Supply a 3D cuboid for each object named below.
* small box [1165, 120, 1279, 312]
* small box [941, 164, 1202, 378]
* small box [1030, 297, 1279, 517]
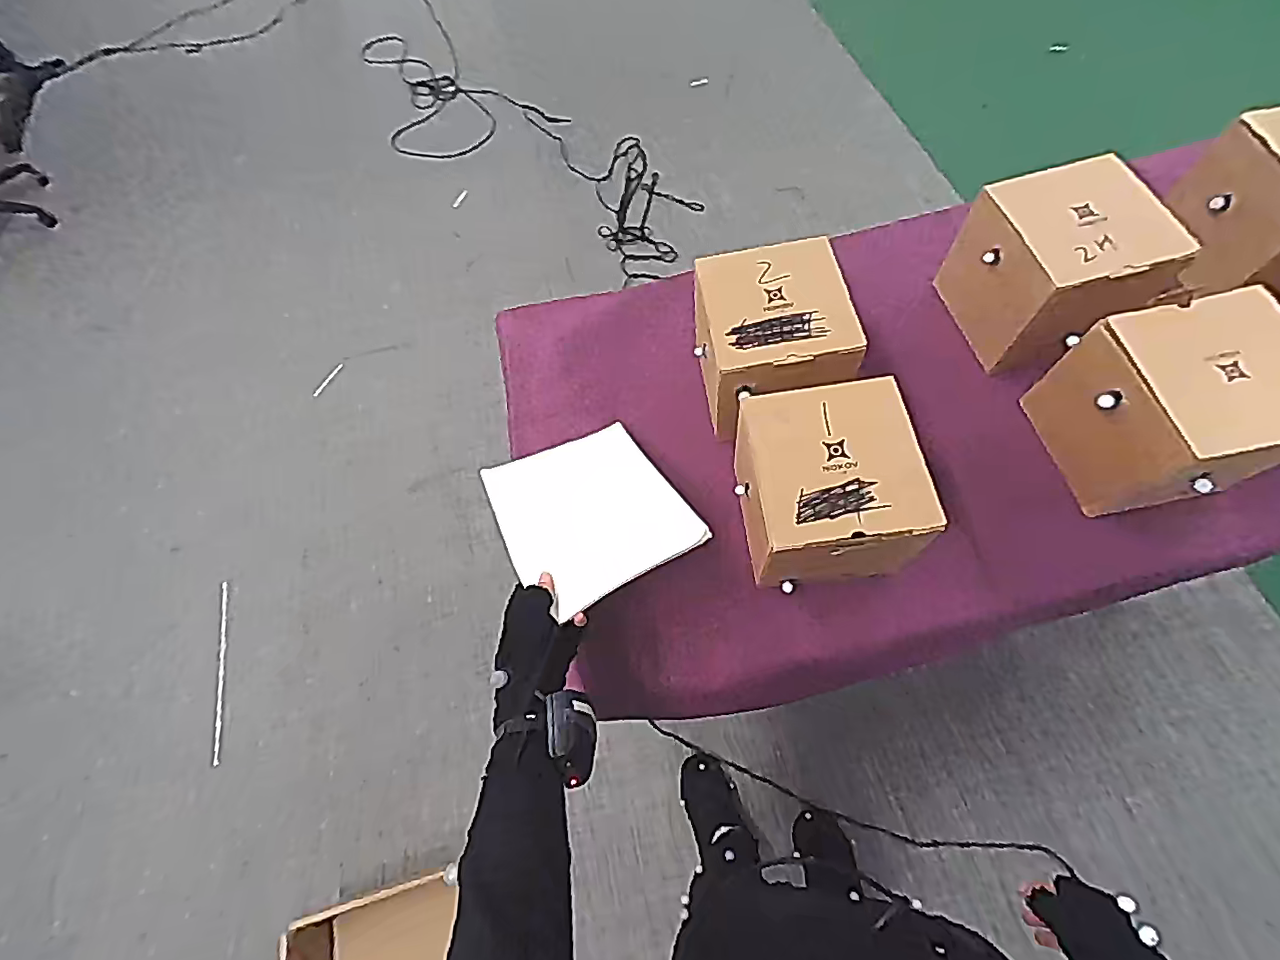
[{"bbox_3d":[0.834,-0.336,0.698,0.168,0.176,0.179,-9,65,3],"label":"small box"},{"bbox_3d":[0.529,-0.262,0.701,0.168,0.176,0.179,-13,66,1],"label":"small box"},{"bbox_3d":[0.595,-0.068,0.608,0.168,0.176,0.179,-11,66,2],"label":"small box"}]
